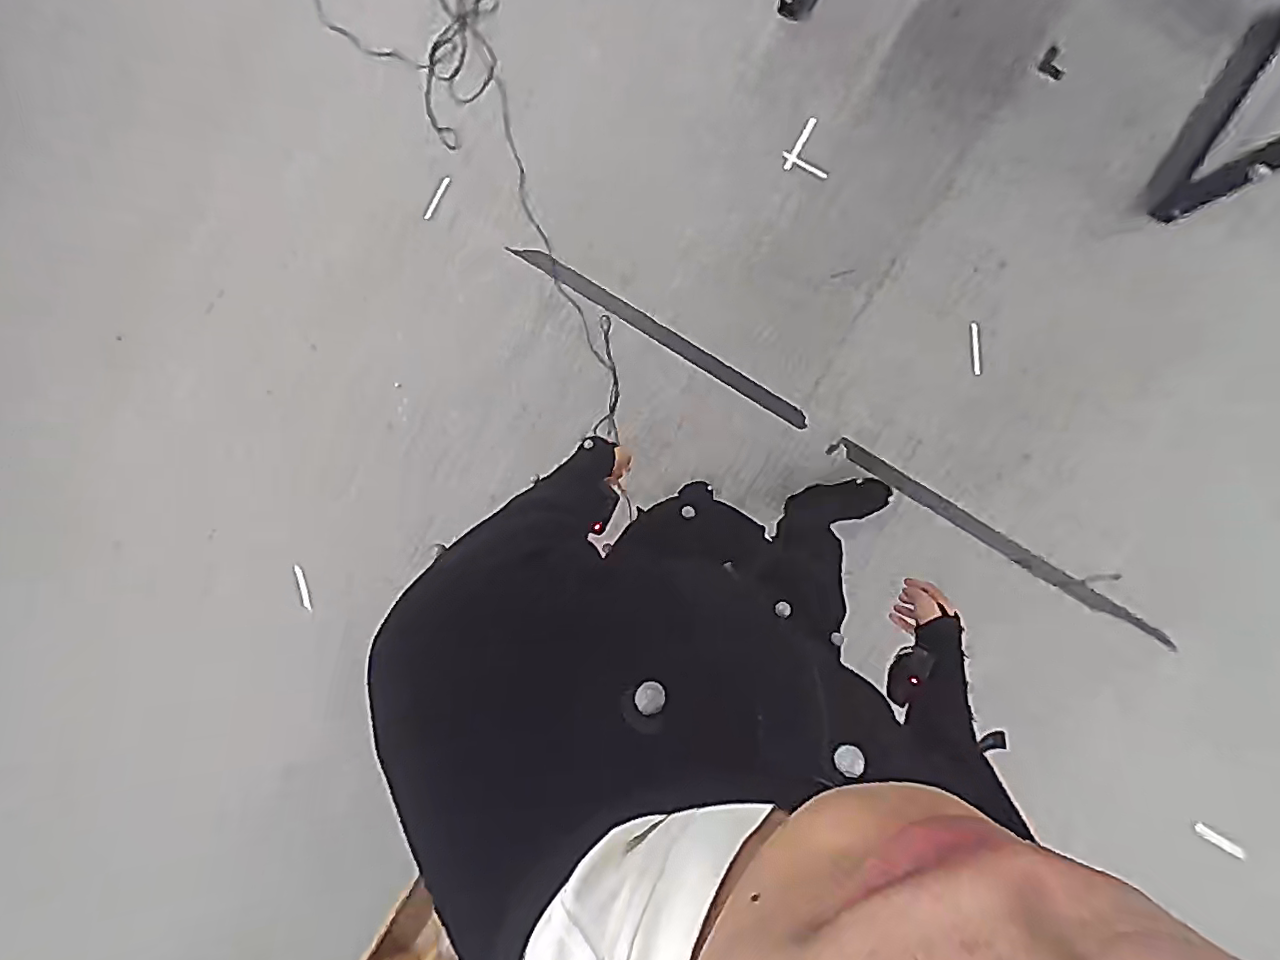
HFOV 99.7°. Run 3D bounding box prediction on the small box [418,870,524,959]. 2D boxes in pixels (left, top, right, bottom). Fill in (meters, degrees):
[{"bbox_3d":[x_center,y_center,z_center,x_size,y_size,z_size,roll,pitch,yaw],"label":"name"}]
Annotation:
[{"bbox_3d":[-0.396,1.081,1.265,0.168,0.176,0.179,34,97,1],"label":"small box"}]
